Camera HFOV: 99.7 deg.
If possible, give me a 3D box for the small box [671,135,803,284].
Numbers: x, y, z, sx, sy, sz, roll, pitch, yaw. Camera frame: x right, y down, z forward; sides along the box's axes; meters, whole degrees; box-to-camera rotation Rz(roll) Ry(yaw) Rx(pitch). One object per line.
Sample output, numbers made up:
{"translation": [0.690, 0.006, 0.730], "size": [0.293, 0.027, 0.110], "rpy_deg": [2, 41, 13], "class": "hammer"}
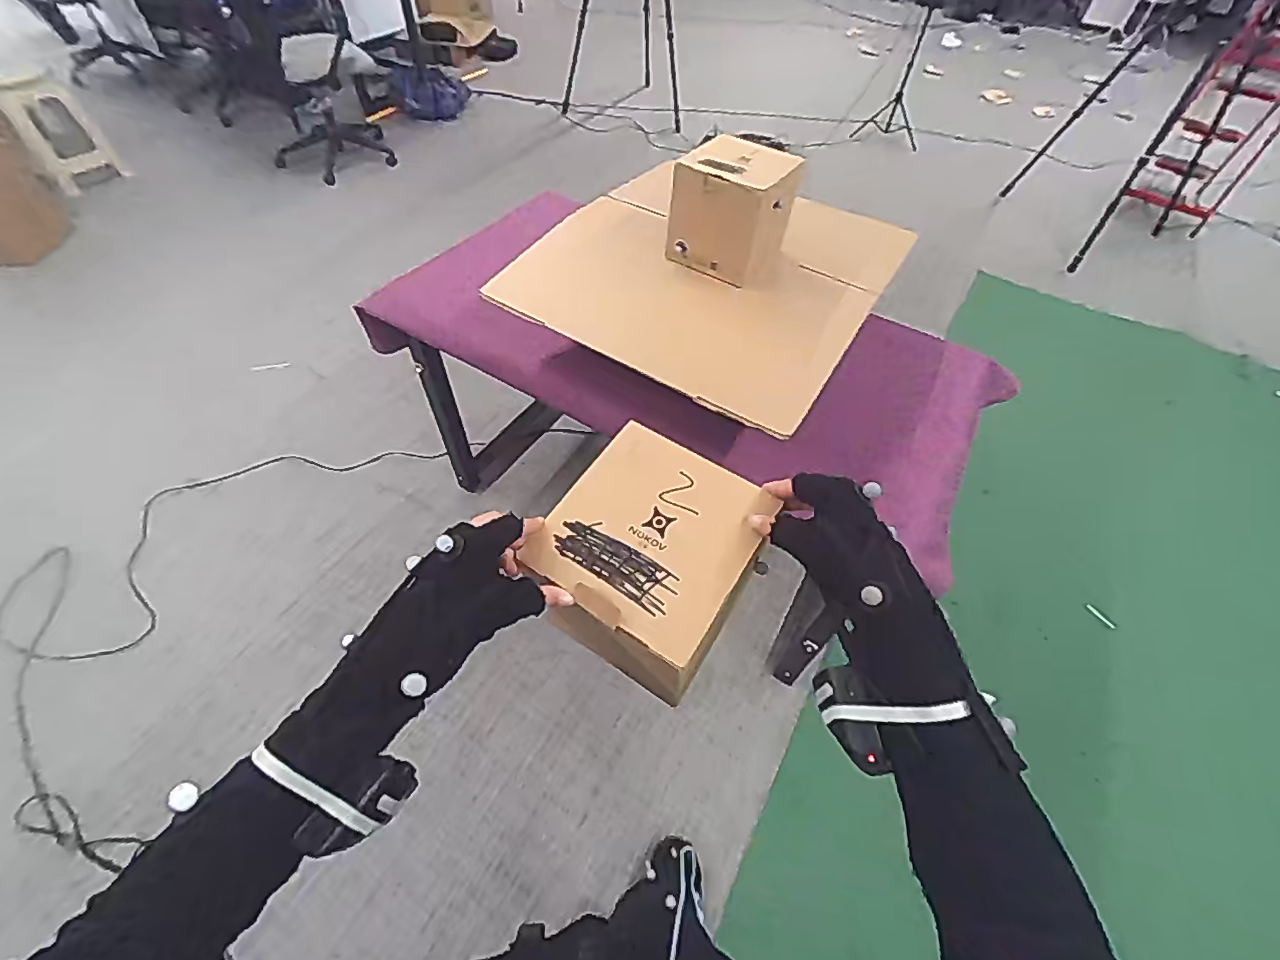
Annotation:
{"translation": [0.166, -0.482, 0.971], "size": [0.168, 0.176, 0.179], "rpy_deg": [27, 55, 16], "class": "small box"}
